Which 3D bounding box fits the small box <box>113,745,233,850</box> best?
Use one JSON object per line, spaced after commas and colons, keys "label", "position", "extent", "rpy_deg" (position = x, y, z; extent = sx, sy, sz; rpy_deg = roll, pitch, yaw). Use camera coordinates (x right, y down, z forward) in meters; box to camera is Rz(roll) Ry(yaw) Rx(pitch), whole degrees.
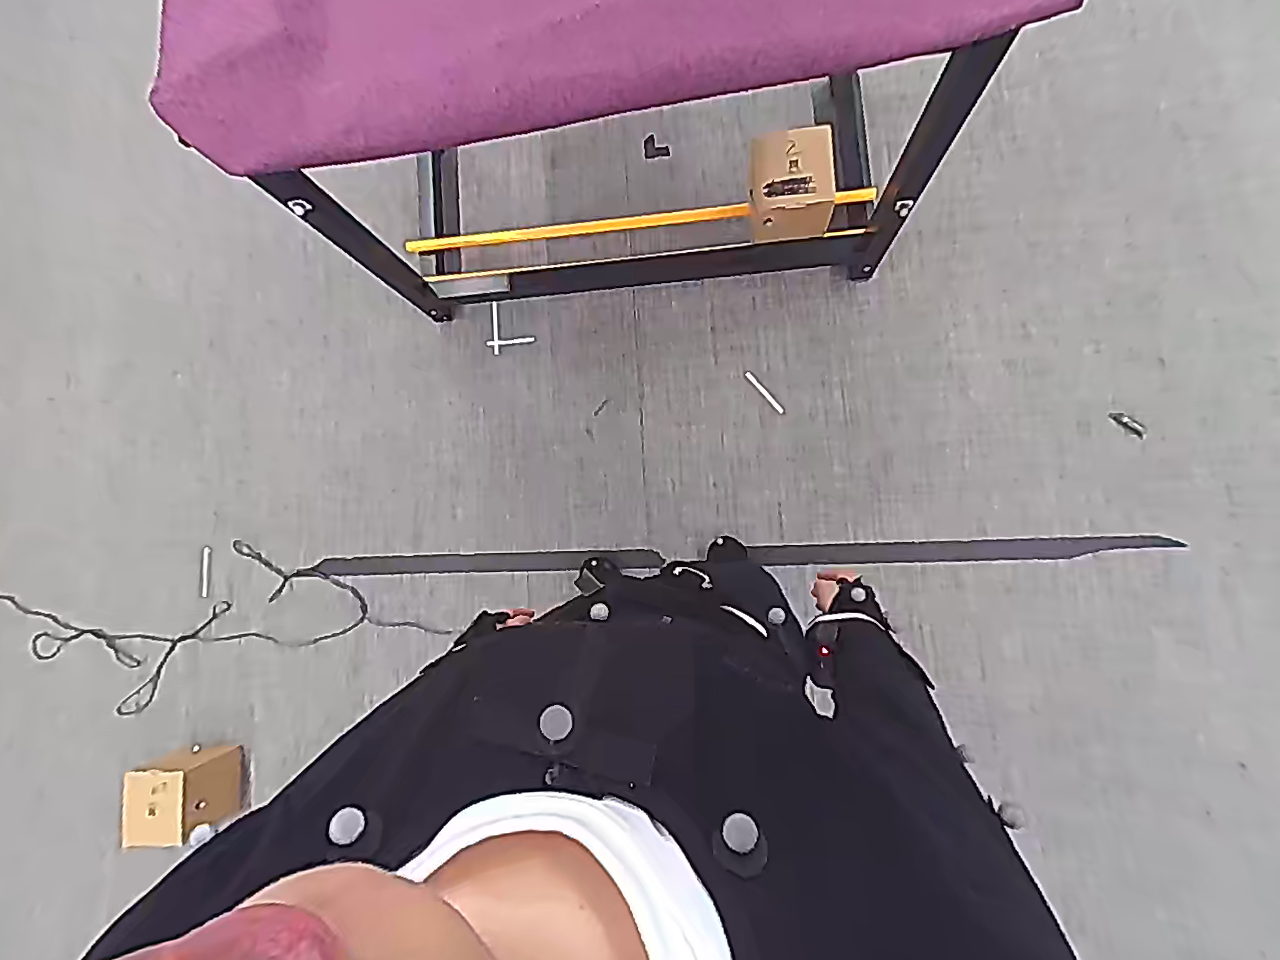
{"label": "small box", "position": [-1.177, 0.799, 1.373], "extent": [0.168, 0.176, 0.179], "rpy_deg": [-3, 84, 6]}
